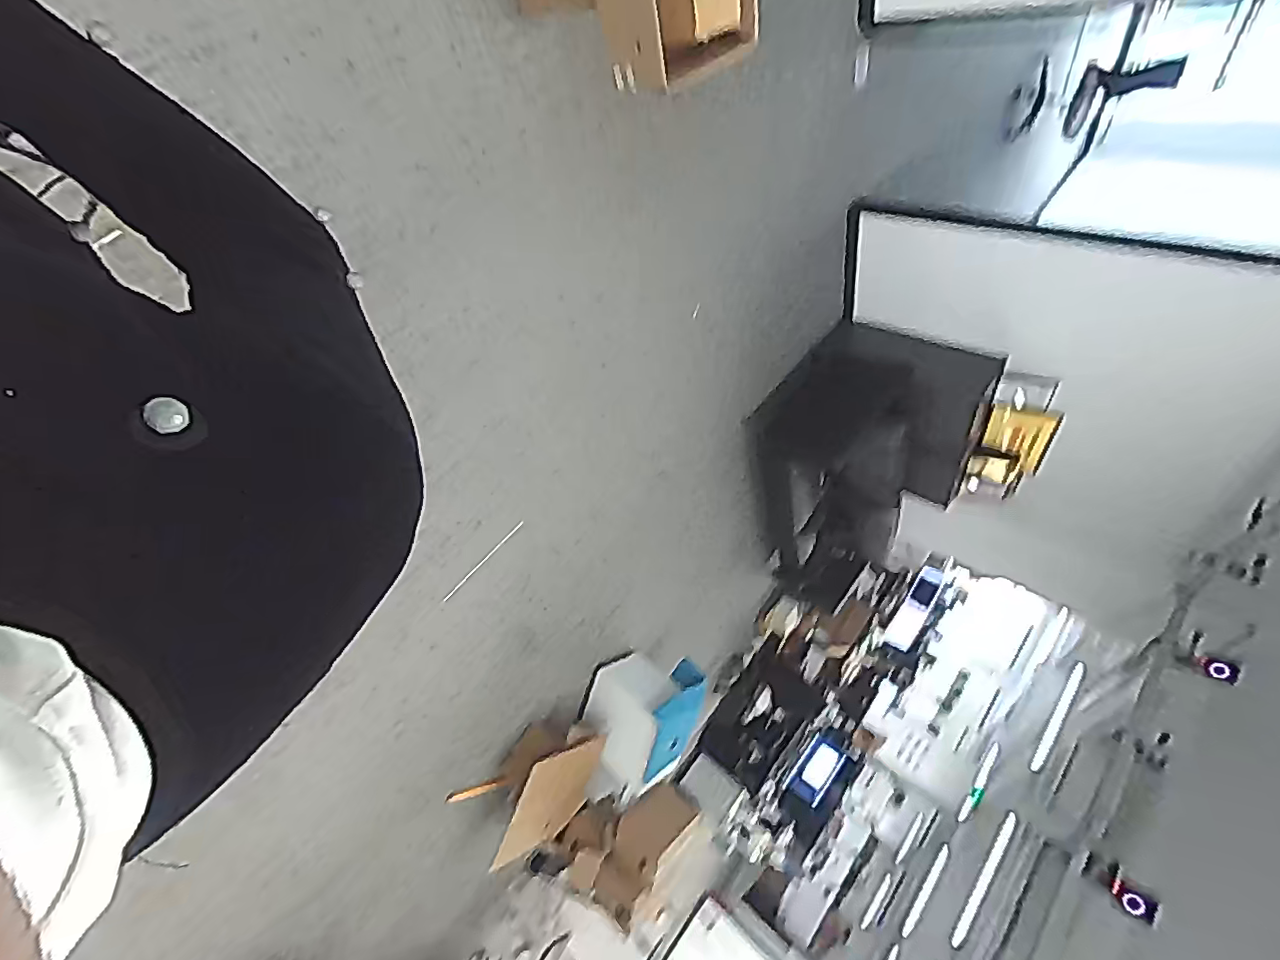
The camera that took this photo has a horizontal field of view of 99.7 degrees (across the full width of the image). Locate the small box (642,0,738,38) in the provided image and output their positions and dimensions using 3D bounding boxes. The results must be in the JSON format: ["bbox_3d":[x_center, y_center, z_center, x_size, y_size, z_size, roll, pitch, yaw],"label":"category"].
[{"bbox_3d":[0.119,-1.202,1.316,0.179,0.176,0.168,-42,142,-25],"label":"small box"}]
